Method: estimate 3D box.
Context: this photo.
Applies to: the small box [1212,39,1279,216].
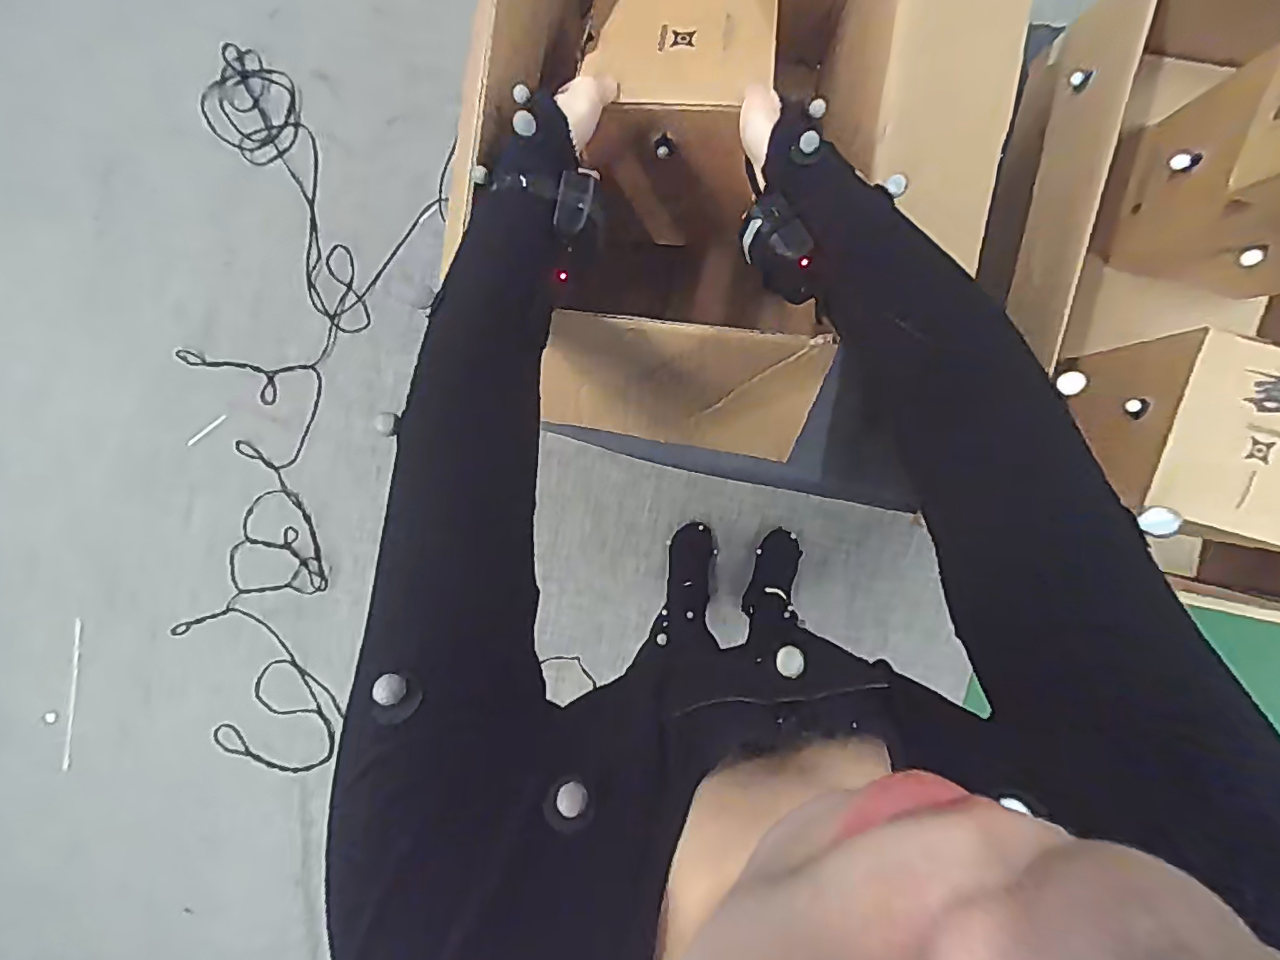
[{"bbox_3d":[0.612,-0.299,0.403,0.179,0.176,0.168,19,95,1],"label":"small box"}]
